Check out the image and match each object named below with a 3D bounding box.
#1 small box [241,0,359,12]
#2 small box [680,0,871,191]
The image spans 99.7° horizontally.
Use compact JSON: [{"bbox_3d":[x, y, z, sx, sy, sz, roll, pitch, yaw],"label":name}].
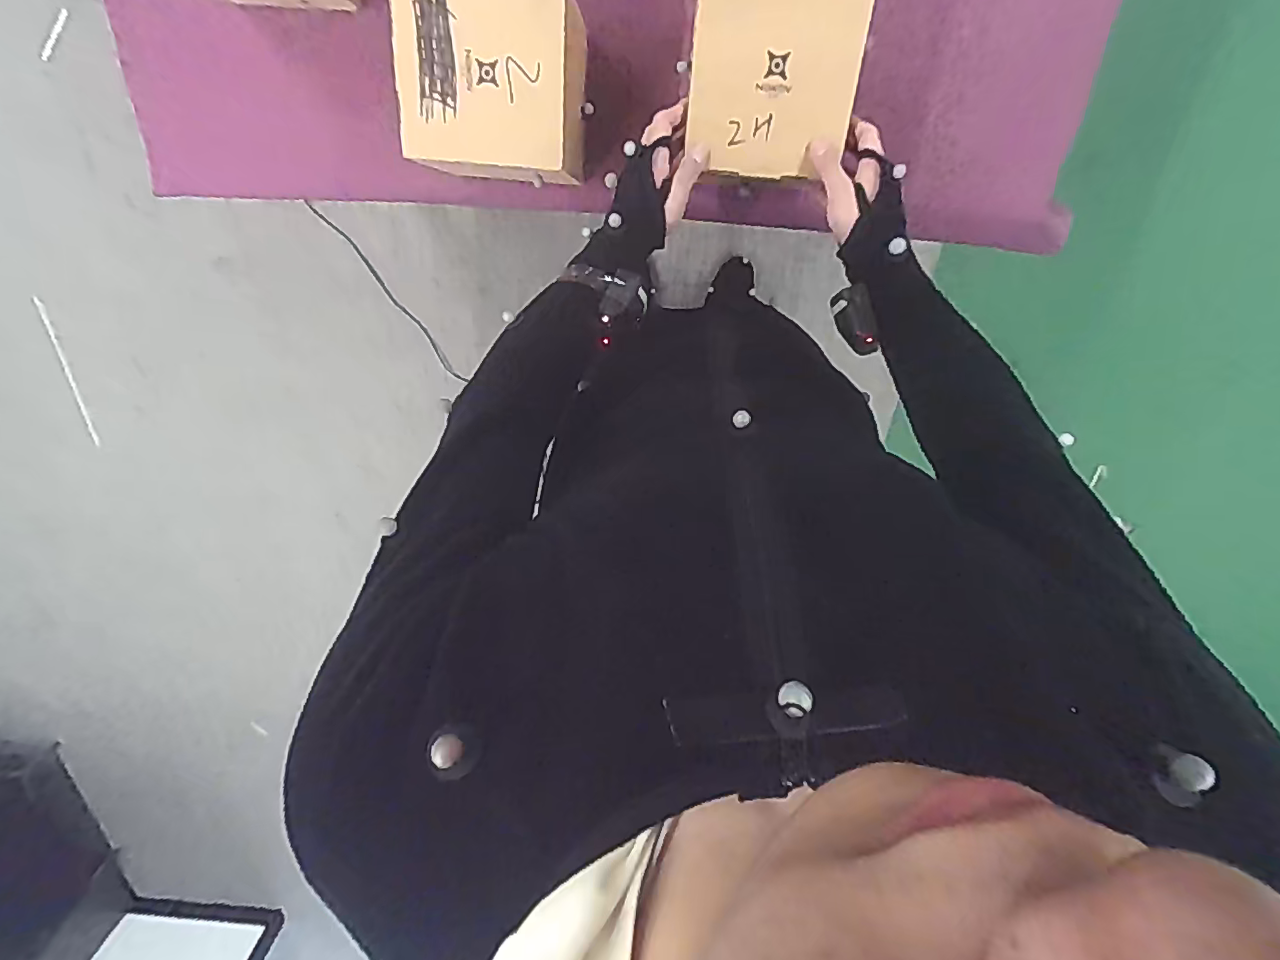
[{"bbox_3d":[-0.415,-0.622,0.549,0.168,0.176,0.179,5,115,2],"label":"small box"},{"bbox_3d":[0.135,-0.435,0.607,0.168,0.176,0.179,6,115,2],"label":"small box"}]
